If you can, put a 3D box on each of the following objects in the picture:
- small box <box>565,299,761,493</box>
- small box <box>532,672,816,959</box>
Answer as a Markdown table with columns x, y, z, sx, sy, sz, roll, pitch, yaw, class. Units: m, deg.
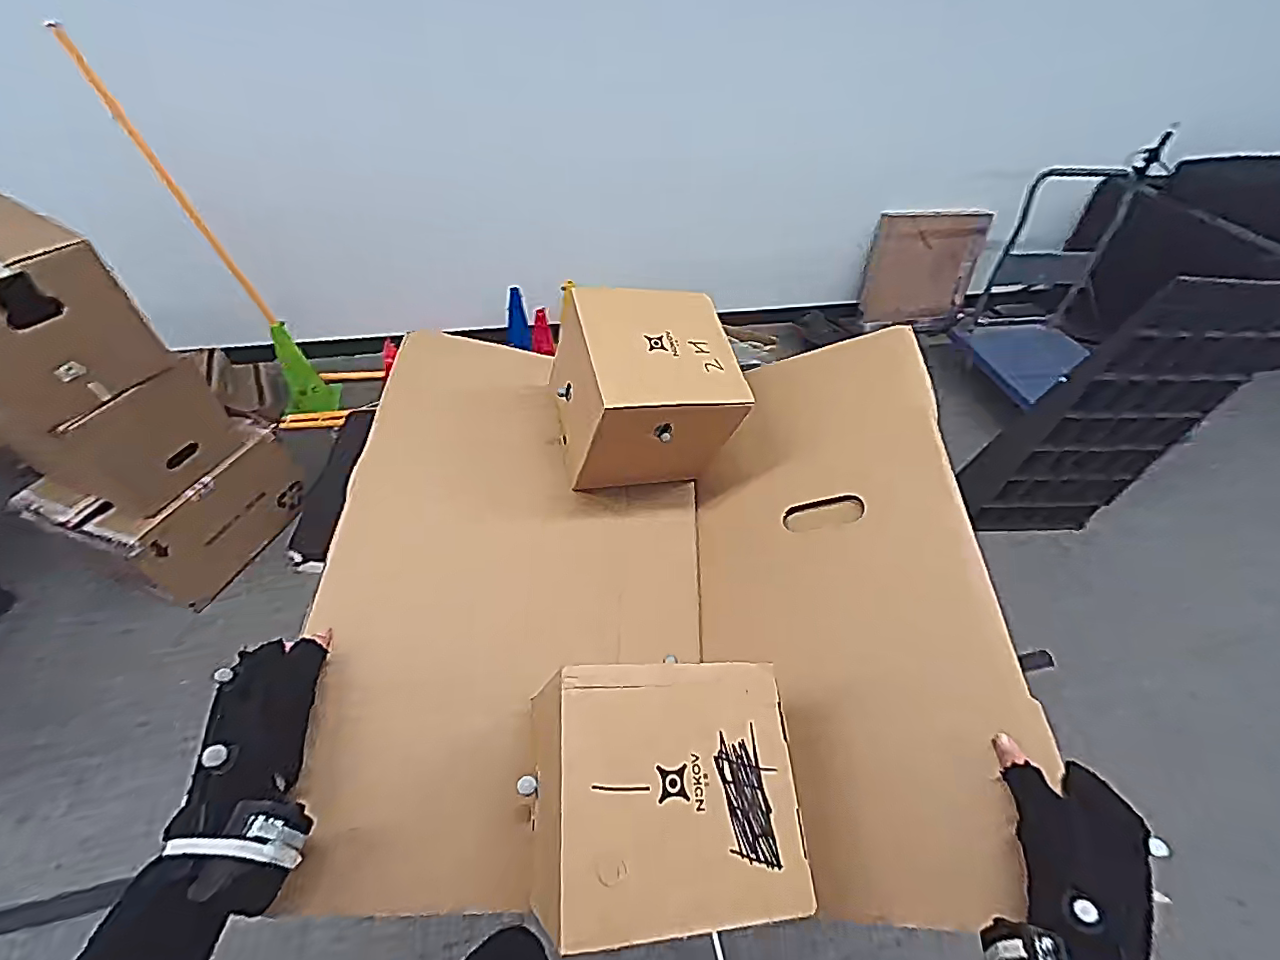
| x | y | z | sx | sy | sz | roll | pitch | yaw | class |
| --- | --- | --- | --- | --- | --- | --- | --- | --- | --- |
| 0.011 | -0.094 | 0.654 | 0.179 | 0.176 | 0.168 | -3 | 62 | -21 | small box |
| 0.012 | 0.258 | 0.445 | 0.179 | 0.176 | 0.168 | 5 | 60 | -15 | small box |
